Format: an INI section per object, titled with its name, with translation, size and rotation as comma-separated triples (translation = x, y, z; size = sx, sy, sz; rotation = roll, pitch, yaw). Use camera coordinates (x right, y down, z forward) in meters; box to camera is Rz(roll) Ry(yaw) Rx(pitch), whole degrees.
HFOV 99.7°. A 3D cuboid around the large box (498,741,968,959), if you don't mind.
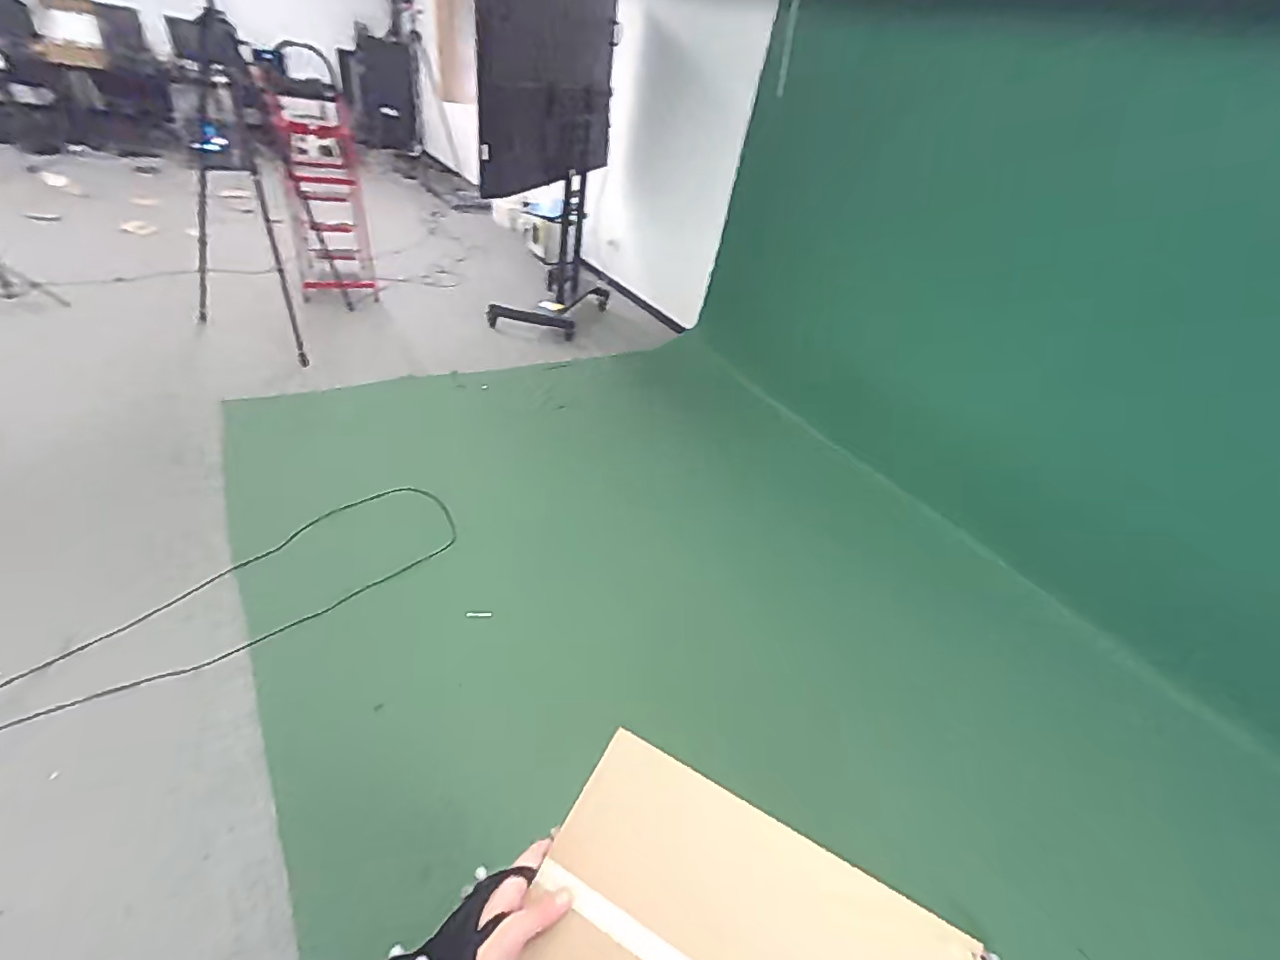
[large box]
translation = 0.065, 0.574, 0.589
size = 0.408, 0.320, 0.320
rotation = 24, 47, 17
